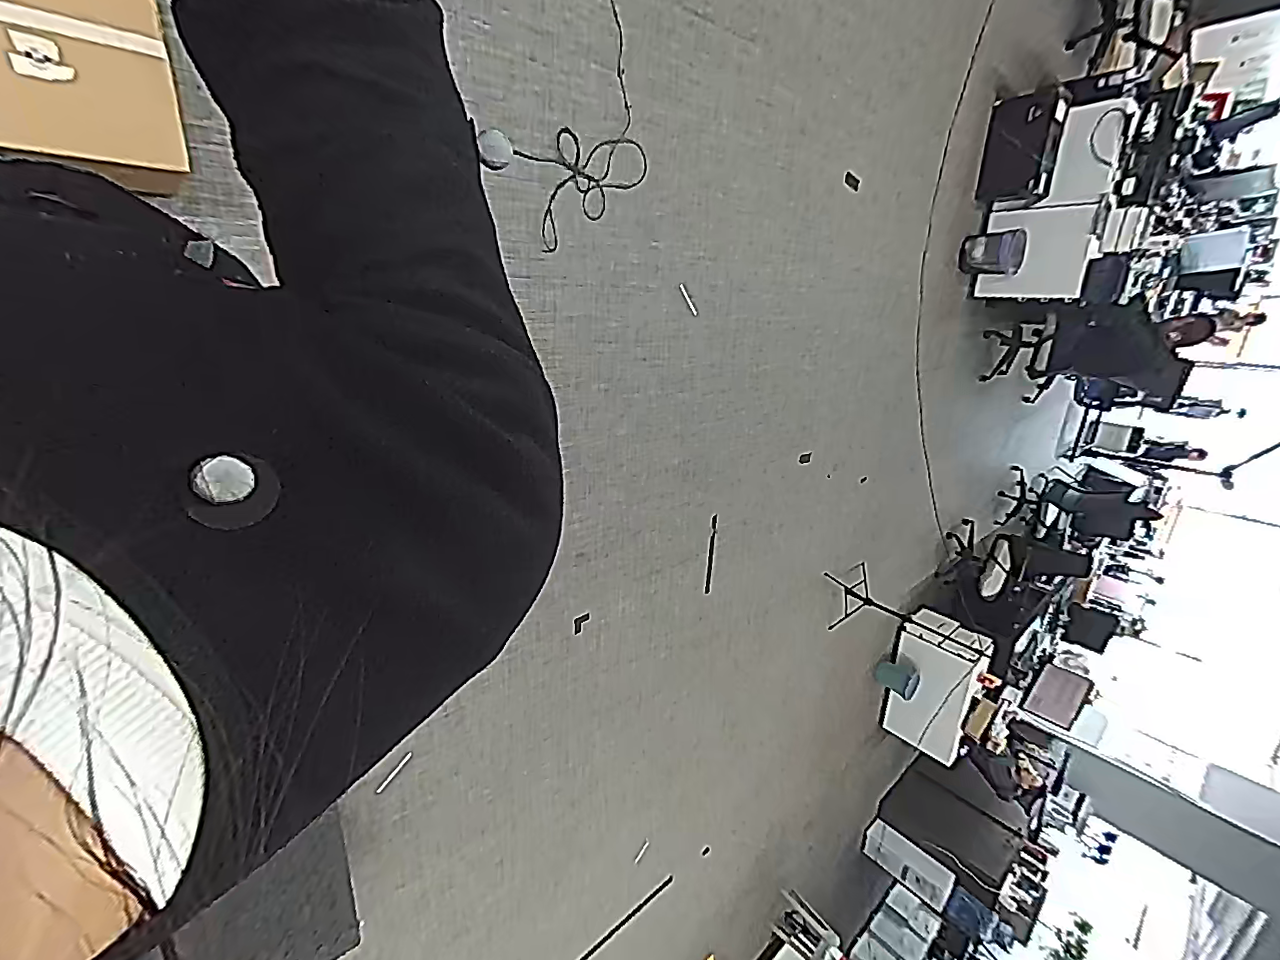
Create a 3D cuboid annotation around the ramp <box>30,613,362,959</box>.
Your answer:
[{"bbox_3d":[-1.018,0.864,1.318,0.509,0.206,0.991,-13,113,-38],"label":"ramp"}]

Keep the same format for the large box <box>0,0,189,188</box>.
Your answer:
[{"bbox_3d":[-0.939,-0.626,0.763,0.408,0.320,0.320,-15,115,-40],"label":"large box"}]
